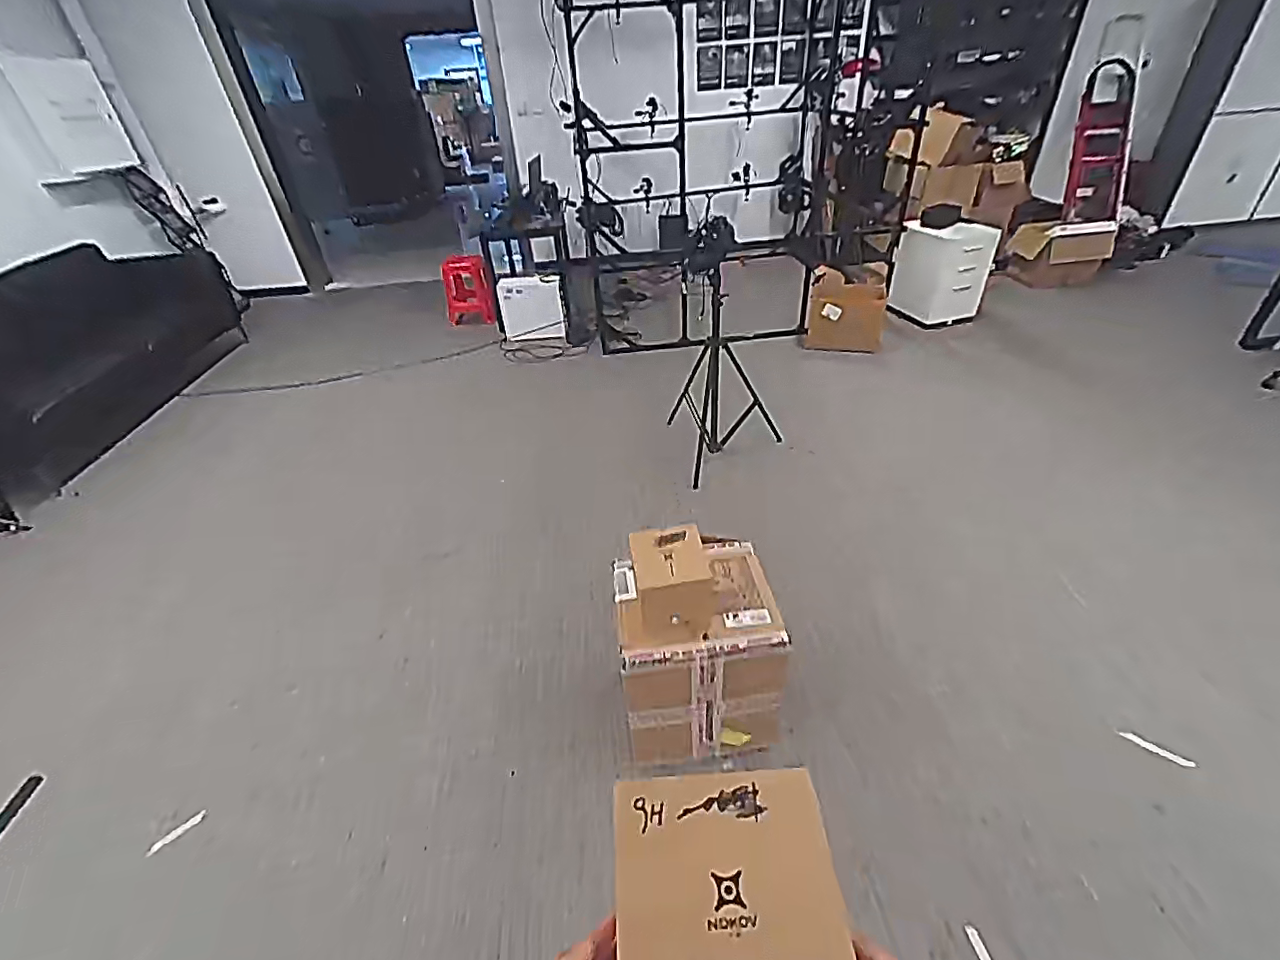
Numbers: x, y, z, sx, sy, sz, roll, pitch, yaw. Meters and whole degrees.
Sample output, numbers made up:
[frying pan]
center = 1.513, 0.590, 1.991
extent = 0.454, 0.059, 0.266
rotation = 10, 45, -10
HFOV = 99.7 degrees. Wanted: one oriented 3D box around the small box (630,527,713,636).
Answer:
[small box]
center = 0.071, 0.236, 1.269
extent = 0.168, 0.176, 0.179
rotation = -8, 40, -3
